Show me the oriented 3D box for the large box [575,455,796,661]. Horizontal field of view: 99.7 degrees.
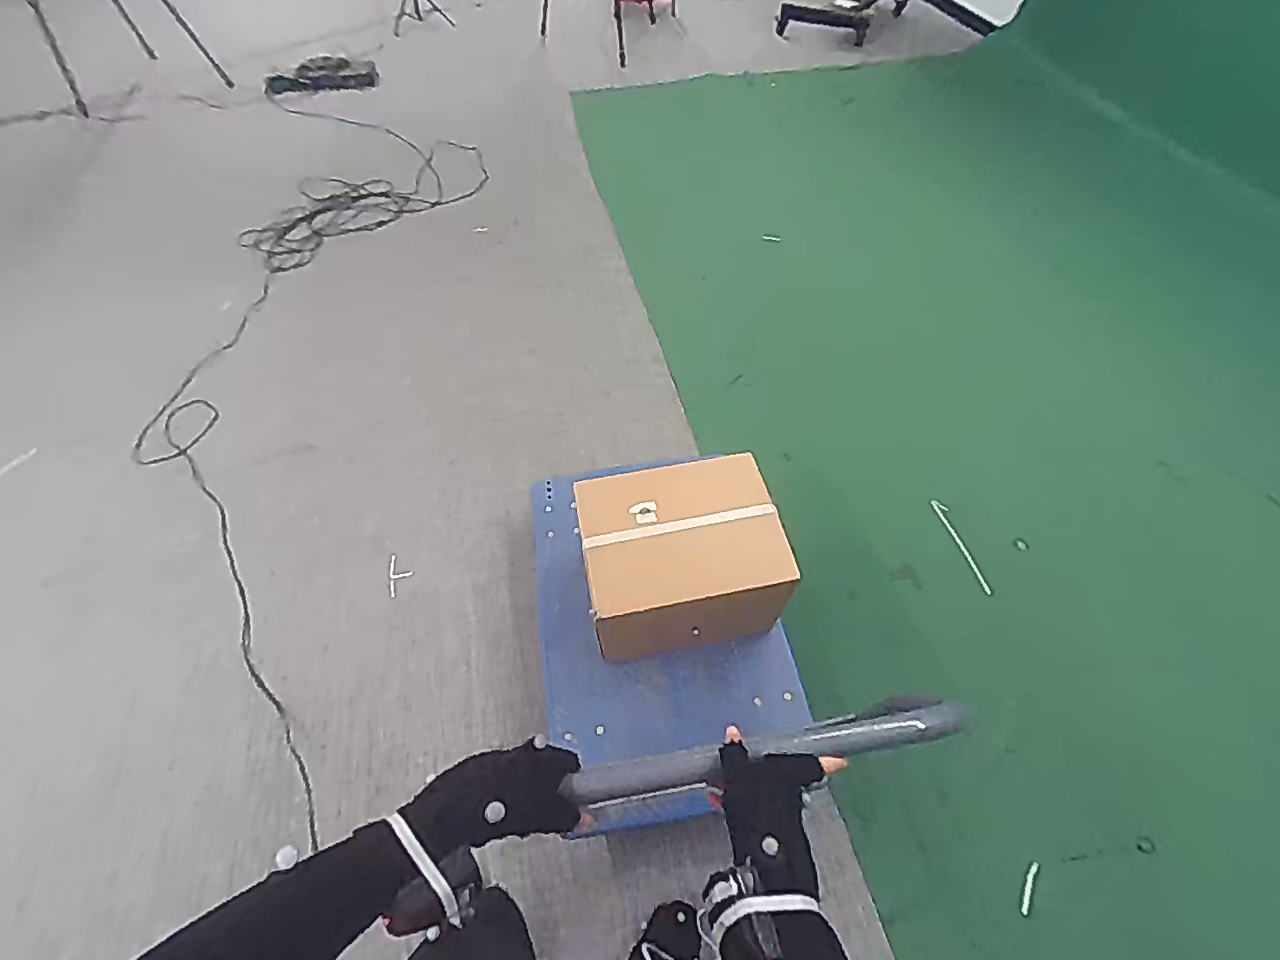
[{"bbox_3d":[0.090,0.187,1.246,0.408,0.320,0.320,-11,57,-5],"label":"large box"}]
